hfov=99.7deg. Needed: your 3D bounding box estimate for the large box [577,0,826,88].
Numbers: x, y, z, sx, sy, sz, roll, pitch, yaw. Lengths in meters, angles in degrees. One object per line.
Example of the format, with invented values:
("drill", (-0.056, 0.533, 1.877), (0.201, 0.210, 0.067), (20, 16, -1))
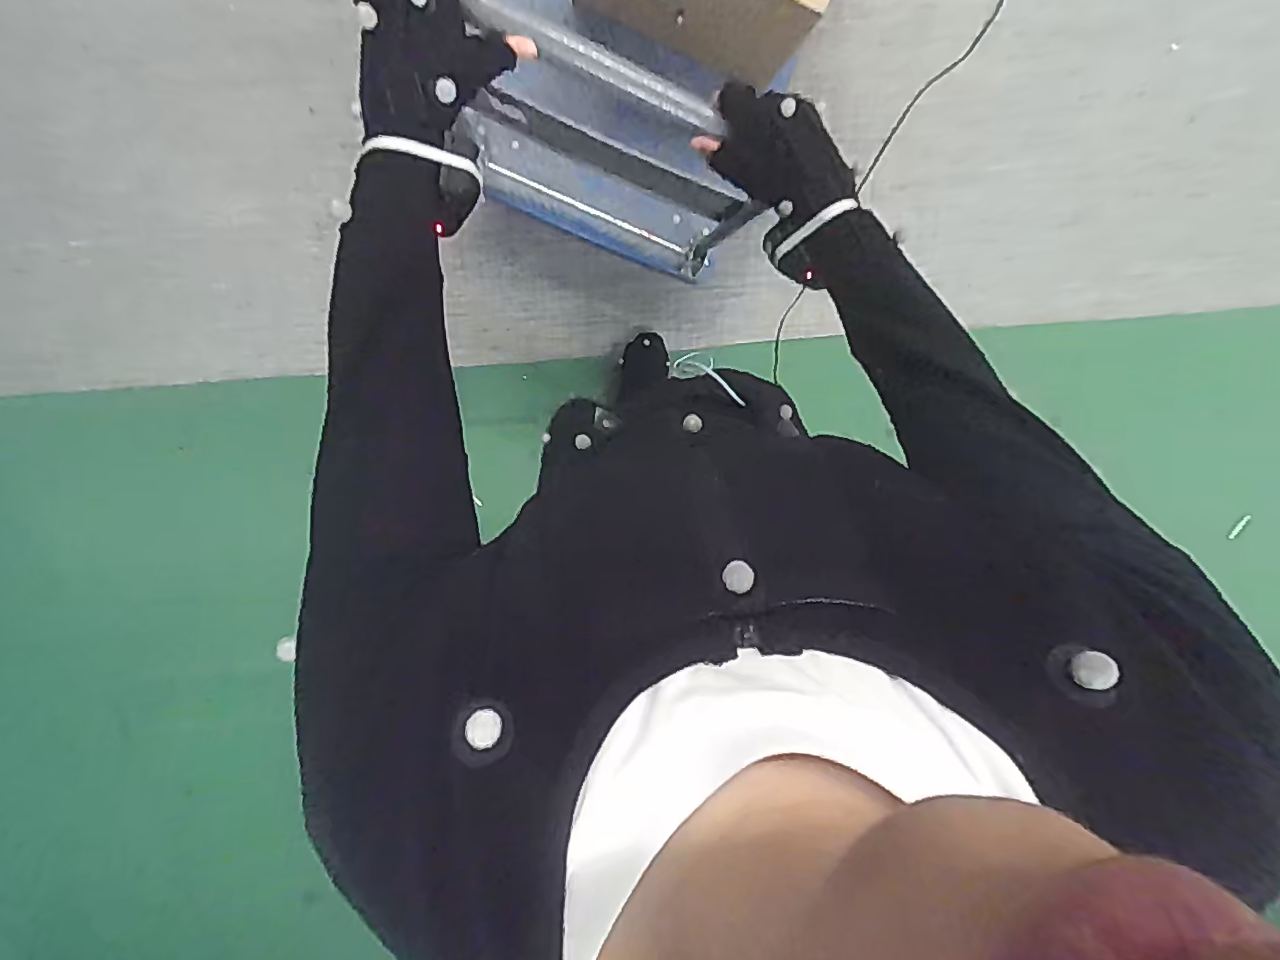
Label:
("large box", (0.123, -0.926, 0.872), (0.408, 0.320, 0.320), (18, 105, -9))
